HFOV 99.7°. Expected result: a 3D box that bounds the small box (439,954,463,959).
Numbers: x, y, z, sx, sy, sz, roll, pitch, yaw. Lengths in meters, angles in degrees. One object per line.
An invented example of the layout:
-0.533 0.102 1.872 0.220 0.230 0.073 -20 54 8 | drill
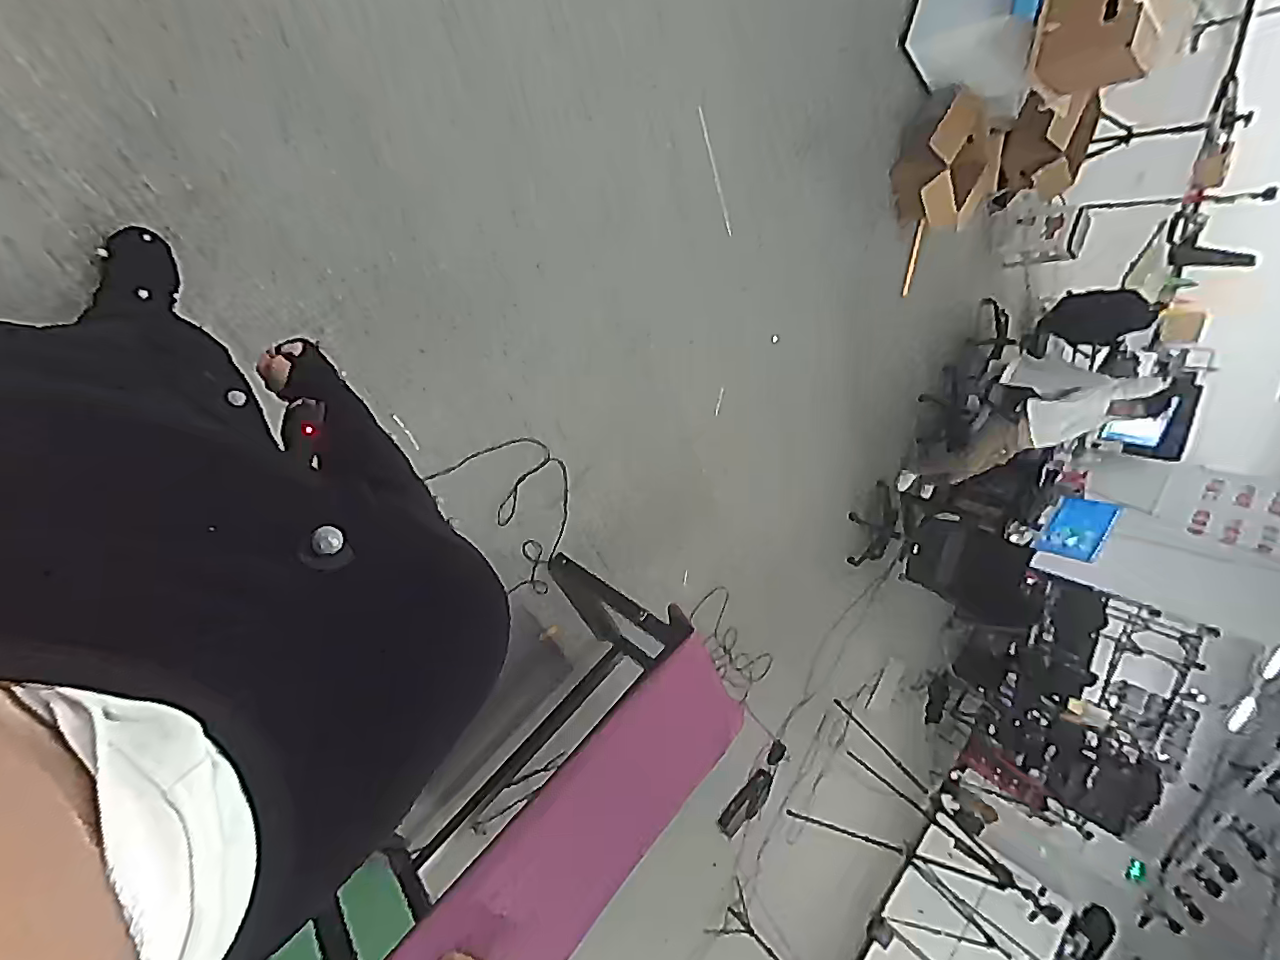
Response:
-0.437 1.251 1.244 0.168 0.176 0.179 -42 131 -25 | small box
